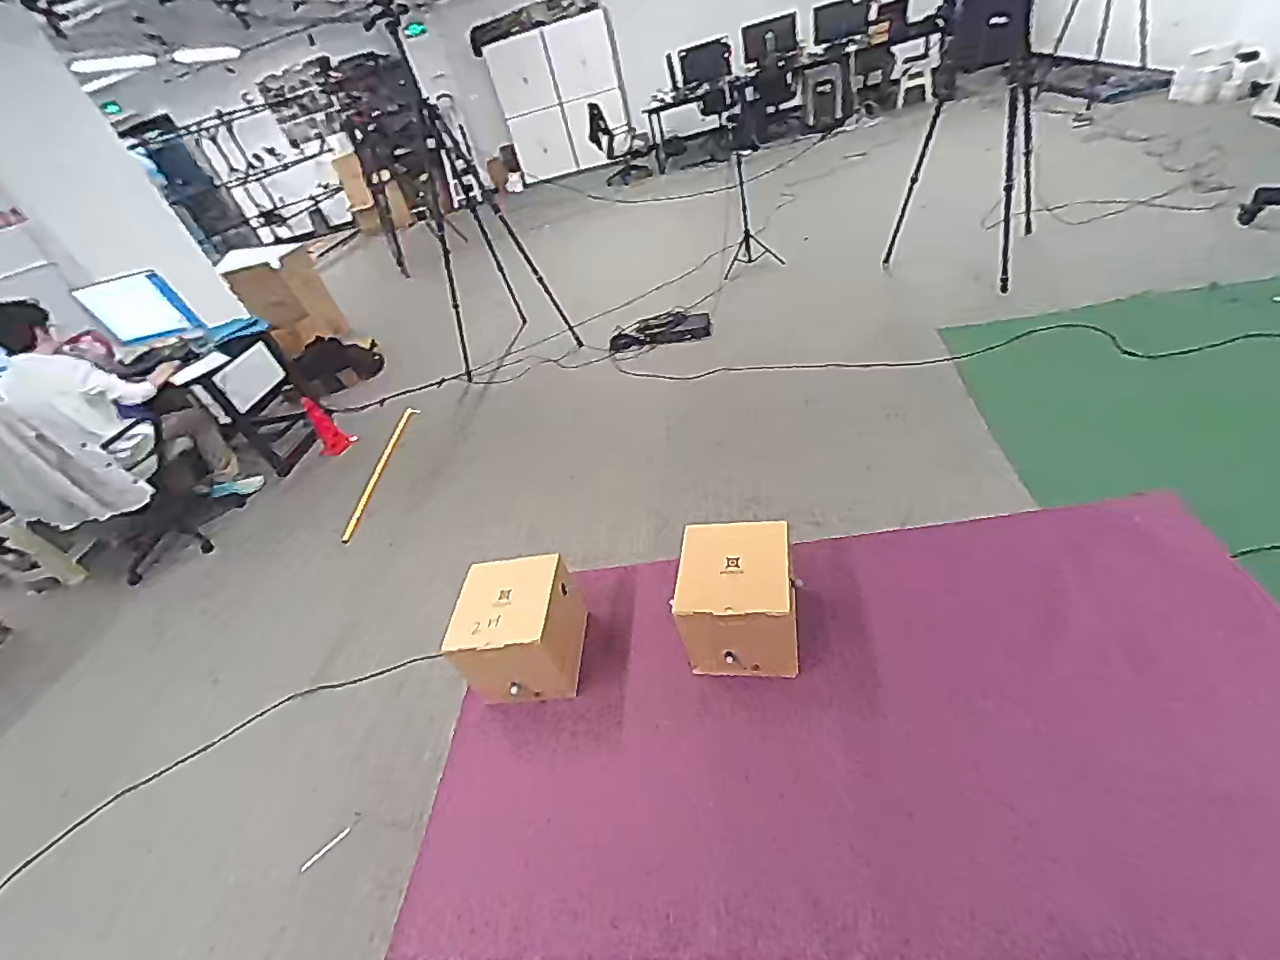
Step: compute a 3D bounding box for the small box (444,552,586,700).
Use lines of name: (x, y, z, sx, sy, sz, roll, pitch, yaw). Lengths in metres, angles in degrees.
small box: (-0.200, 0.250, 0.924, 0.168, 0.176, 0.179, -9, 40, 12)

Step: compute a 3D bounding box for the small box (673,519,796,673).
small box: (0.158, 0.184, 0.865, 0.168, 0.176, 0.179, -4, 42, 17)
